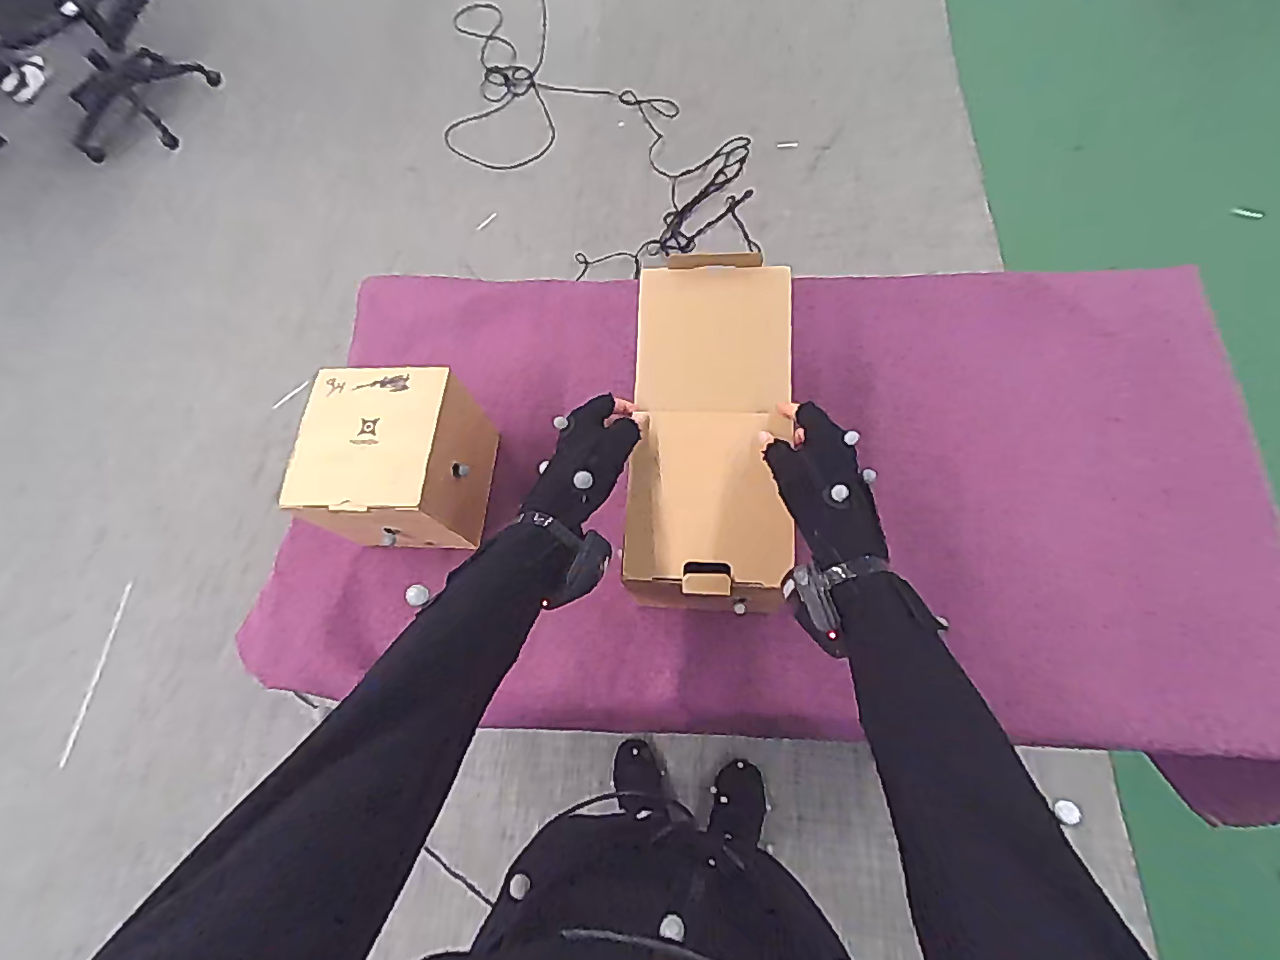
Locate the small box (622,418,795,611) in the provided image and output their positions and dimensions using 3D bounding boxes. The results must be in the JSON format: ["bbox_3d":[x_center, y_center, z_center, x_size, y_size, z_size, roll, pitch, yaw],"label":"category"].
[{"bbox_3d":[0.079,0.047,0.607,0.168,0.176,0.179,2,68,7],"label":"small box"}]

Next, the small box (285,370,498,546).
[{"bbox_3d":[-0.291,-0.019,0.678,0.168,0.176,0.179,1,69,7],"label":"small box"}]
